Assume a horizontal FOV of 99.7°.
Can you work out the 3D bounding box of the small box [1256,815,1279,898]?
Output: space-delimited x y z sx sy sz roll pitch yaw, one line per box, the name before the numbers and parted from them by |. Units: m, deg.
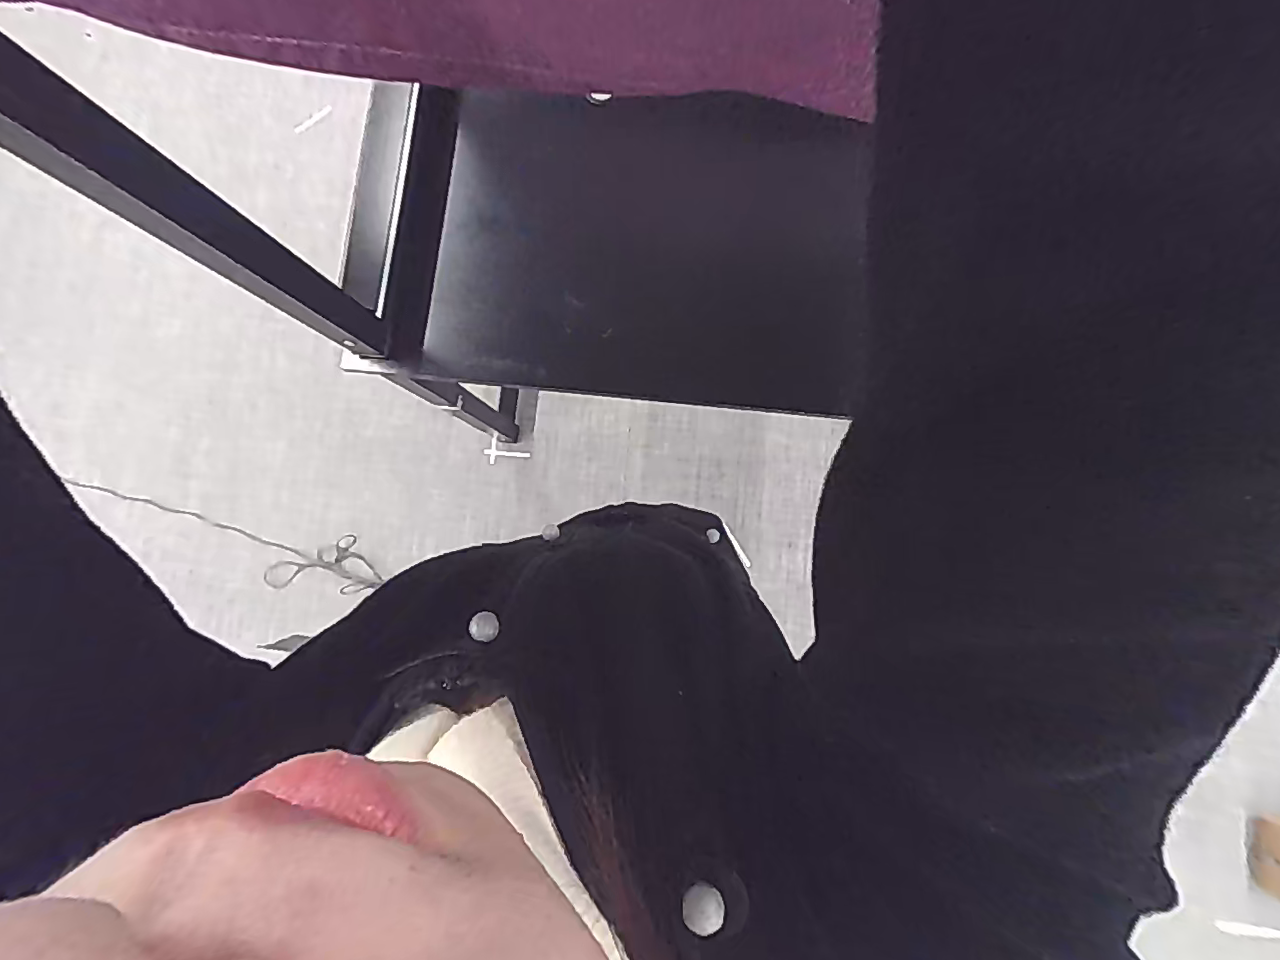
small box | 1.601 0.920 1.252 0.168 0.176 0.179 7 86 4
